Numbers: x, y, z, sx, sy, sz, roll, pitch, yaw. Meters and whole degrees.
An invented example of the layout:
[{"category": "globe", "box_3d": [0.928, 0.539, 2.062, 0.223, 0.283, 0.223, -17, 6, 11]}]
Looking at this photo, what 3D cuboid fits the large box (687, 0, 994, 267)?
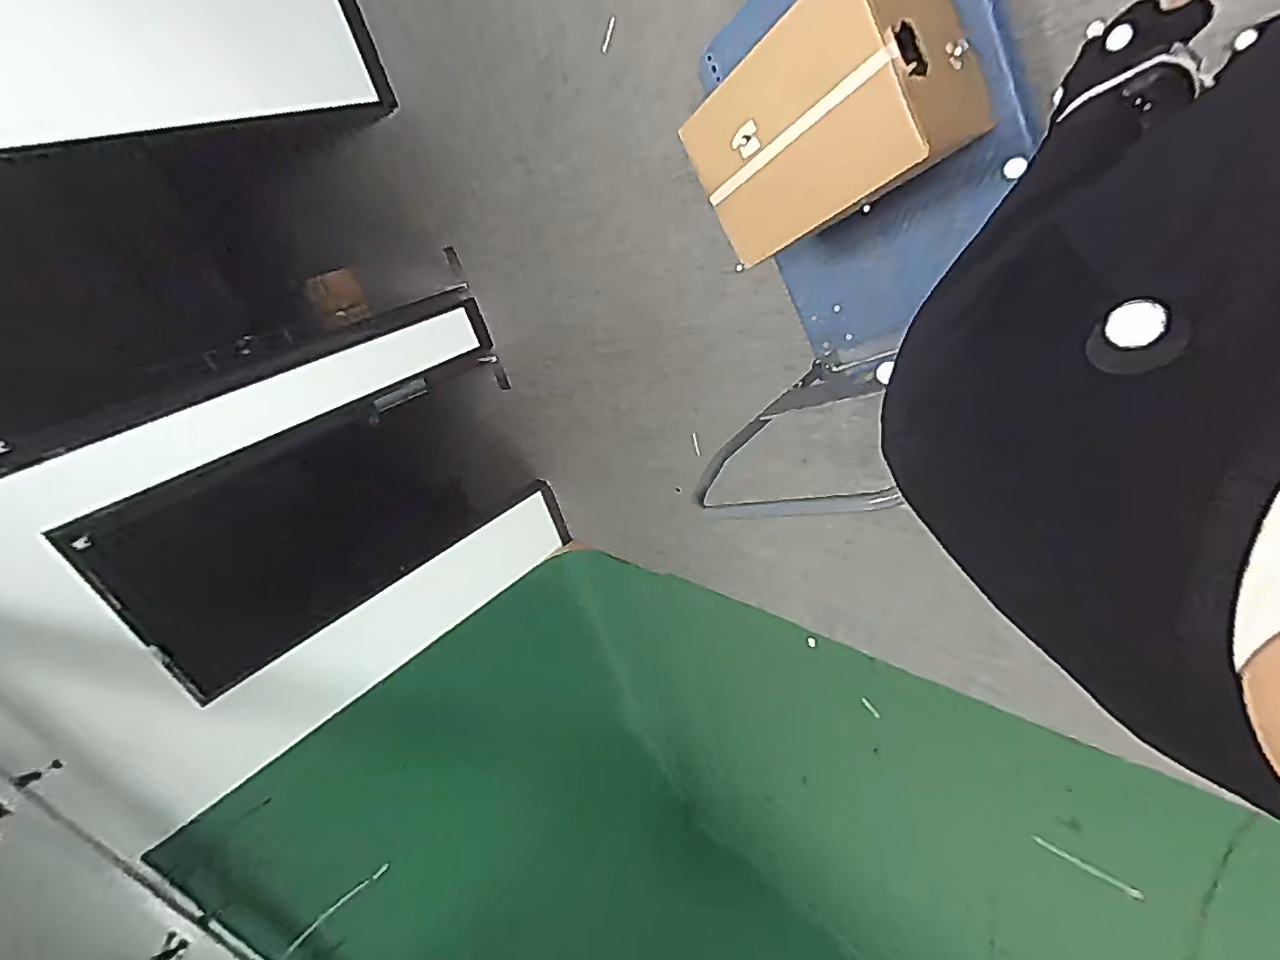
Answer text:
[{"category": "large box", "box_3d": [0.375, -0.689, 1.053, 0.408, 0.320, 0.320, -12, 108, 56]}]
